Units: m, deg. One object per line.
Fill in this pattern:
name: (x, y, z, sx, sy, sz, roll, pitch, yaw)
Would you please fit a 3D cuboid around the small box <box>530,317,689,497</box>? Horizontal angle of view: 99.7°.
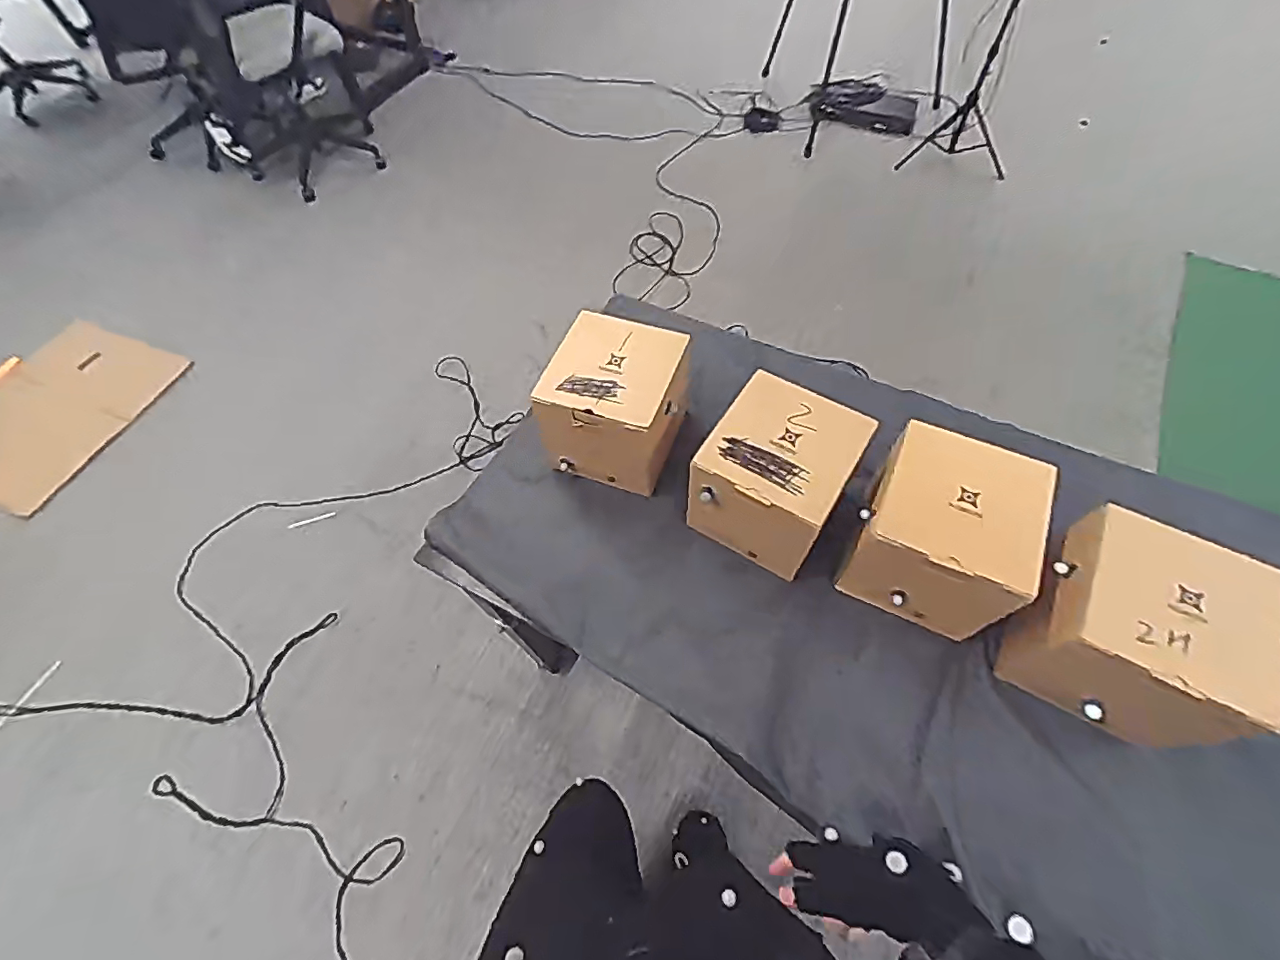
small box: (-0.034, -0.100, 0.785, 0.168, 0.176, 0.179, 17, 60, 12)
